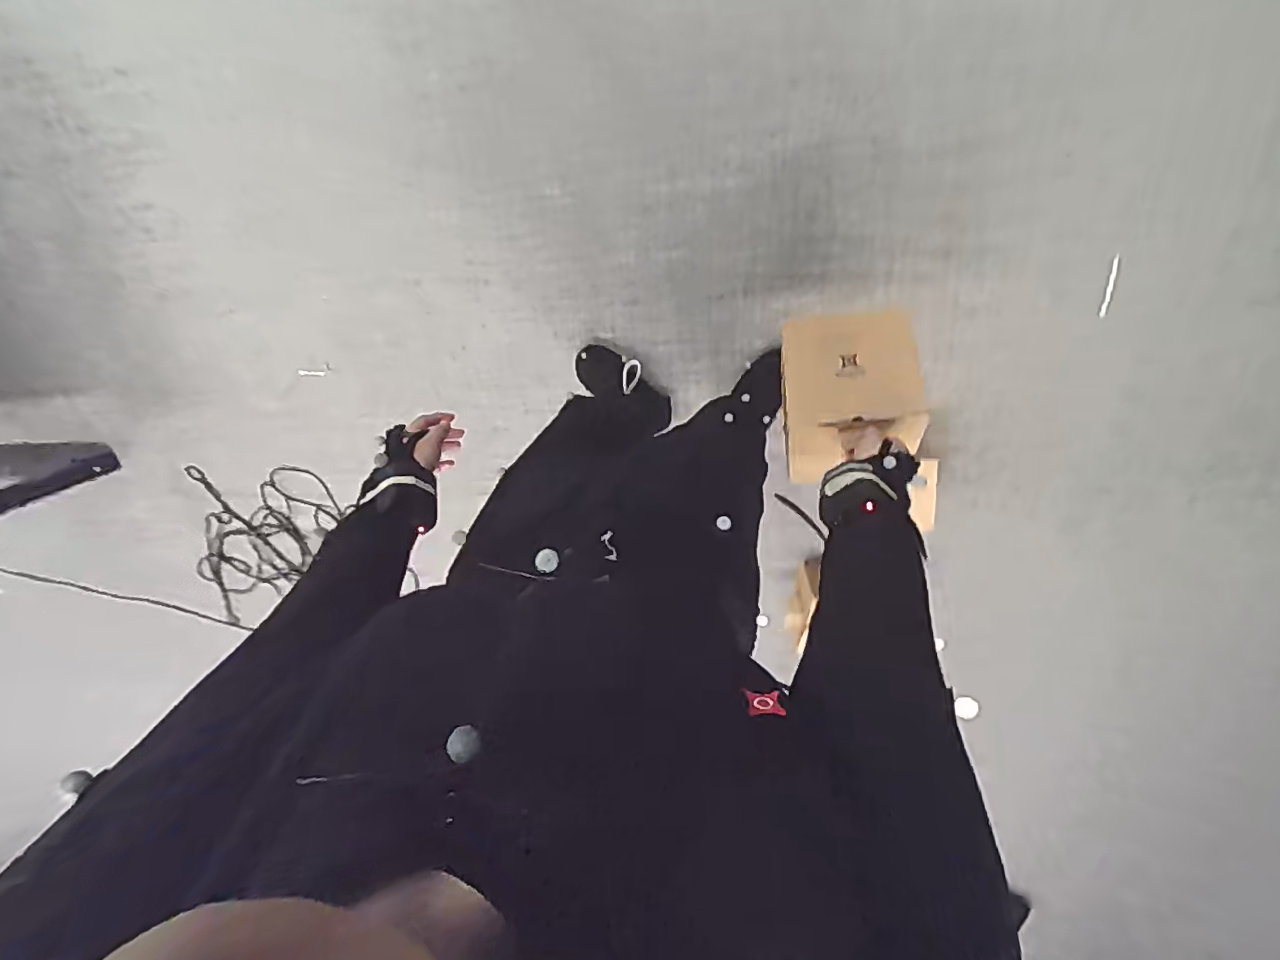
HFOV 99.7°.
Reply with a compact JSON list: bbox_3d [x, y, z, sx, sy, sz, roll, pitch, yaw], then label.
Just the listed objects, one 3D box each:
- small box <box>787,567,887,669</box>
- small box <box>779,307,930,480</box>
[{"bbox_3d":[0.479,0.336,1.342,0.179,0.176,0.168,10,114,3],"label":"small box"},{"bbox_3d":[0.283,-0.108,0.752,0.168,0.179,0.176,-3,152,12],"label":"small box"}]
